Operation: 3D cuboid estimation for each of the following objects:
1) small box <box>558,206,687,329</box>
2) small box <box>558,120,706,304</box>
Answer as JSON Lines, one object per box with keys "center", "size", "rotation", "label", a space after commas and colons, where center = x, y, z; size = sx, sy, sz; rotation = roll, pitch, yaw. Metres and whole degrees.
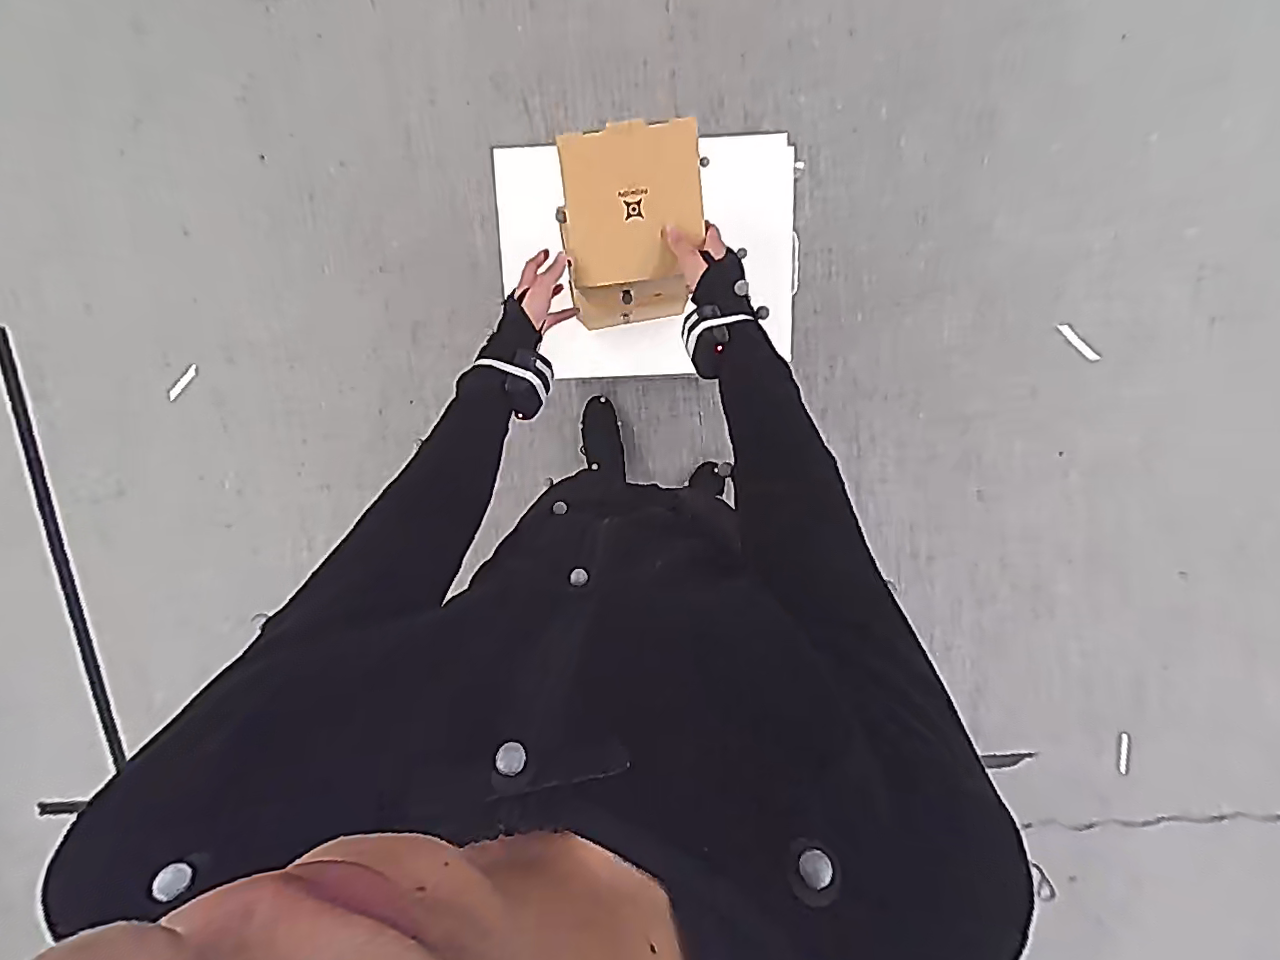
{"center": [-0.023, -0.351, 0.888], "size": [0.179, 0.176, 0.168], "rotation": [-9, 99, 2], "label": "small box"}
{"center": [-0.005, -0.340, 0.725], "size": [0.168, 0.176, 0.179], "rotation": [-6, 99, 2], "label": "small box"}
